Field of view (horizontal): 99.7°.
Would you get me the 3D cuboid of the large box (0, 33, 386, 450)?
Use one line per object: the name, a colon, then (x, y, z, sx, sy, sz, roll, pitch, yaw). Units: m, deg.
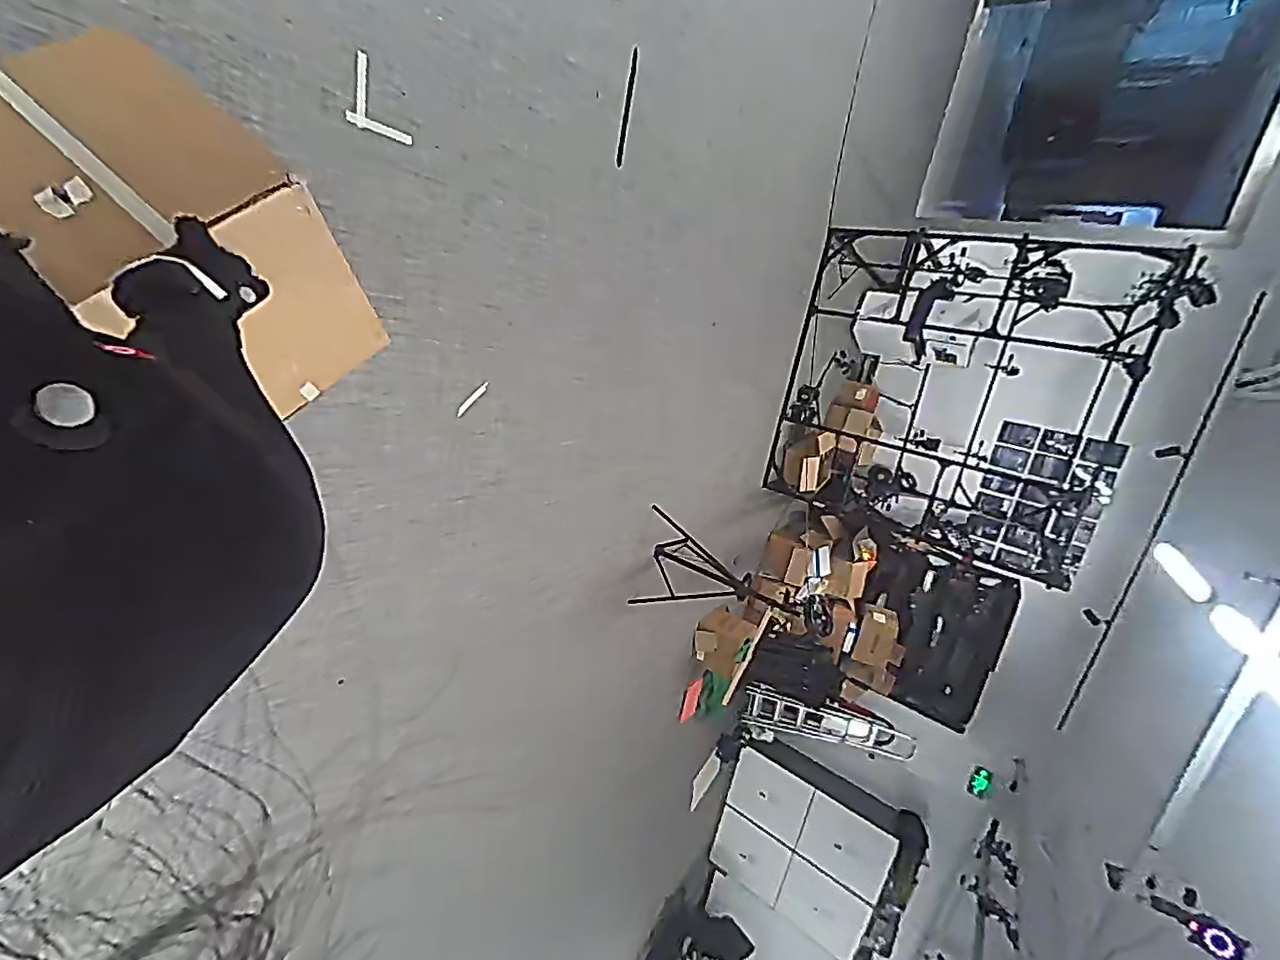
large box: (-0.662, -0.320, 0.775, 0.320, 0.408, 0.320, -46, 169, -19)
